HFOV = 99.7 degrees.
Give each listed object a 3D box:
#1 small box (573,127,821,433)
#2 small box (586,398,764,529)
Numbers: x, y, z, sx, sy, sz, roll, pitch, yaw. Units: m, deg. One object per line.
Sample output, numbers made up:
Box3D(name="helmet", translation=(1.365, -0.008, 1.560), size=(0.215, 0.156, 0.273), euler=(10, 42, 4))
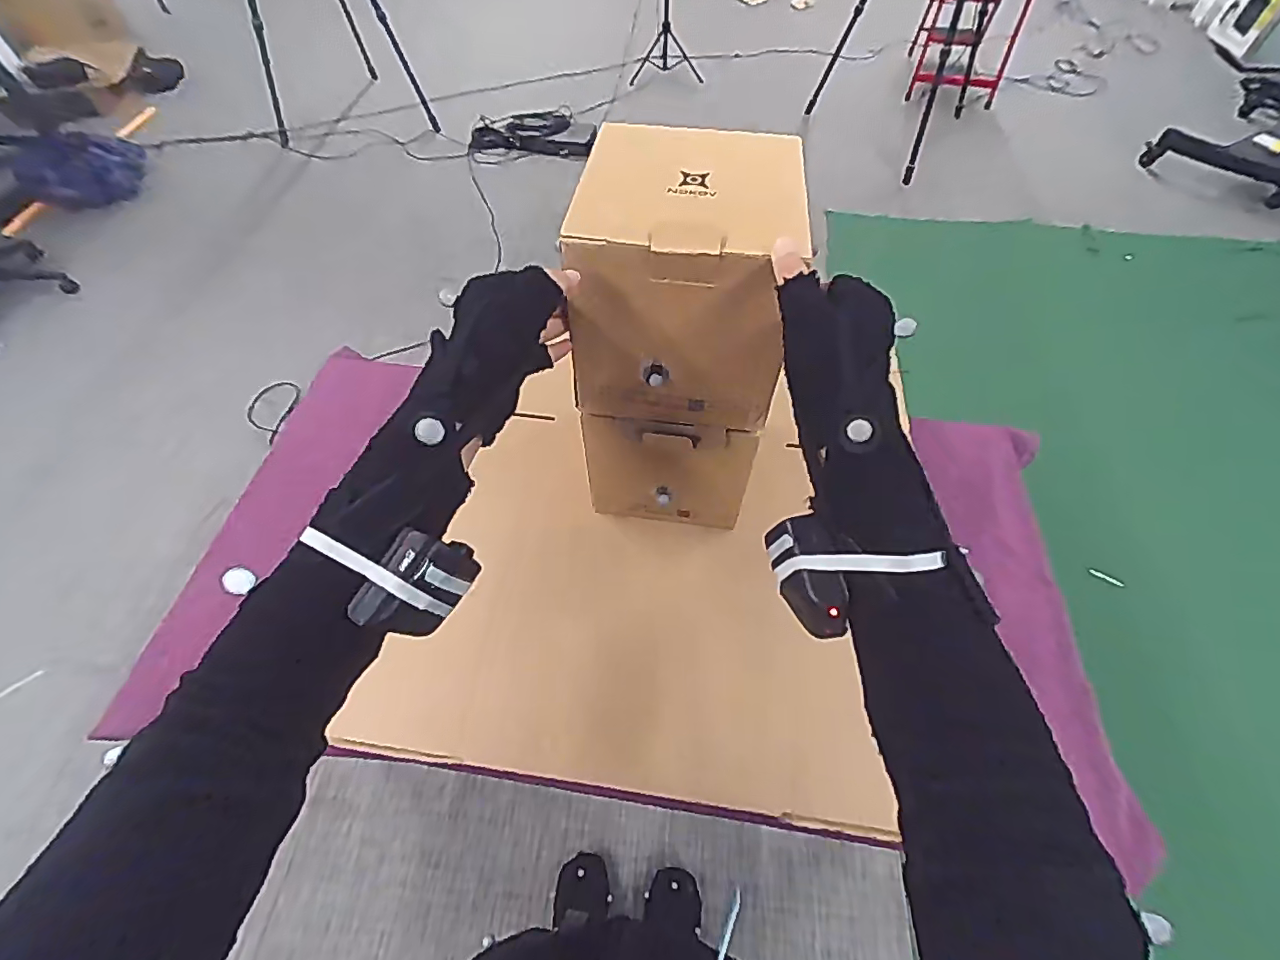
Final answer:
Box3D(name="small box", translation=(0.043, -0.166, 0.462), size=(0.168, 0.176, 0.179), euler=(7, 55, 3))
Box3D(name="small box", translation=(0.042, -0.070, 0.598), size=(0.168, 0.176, 0.179), euler=(7, 56, 5))
